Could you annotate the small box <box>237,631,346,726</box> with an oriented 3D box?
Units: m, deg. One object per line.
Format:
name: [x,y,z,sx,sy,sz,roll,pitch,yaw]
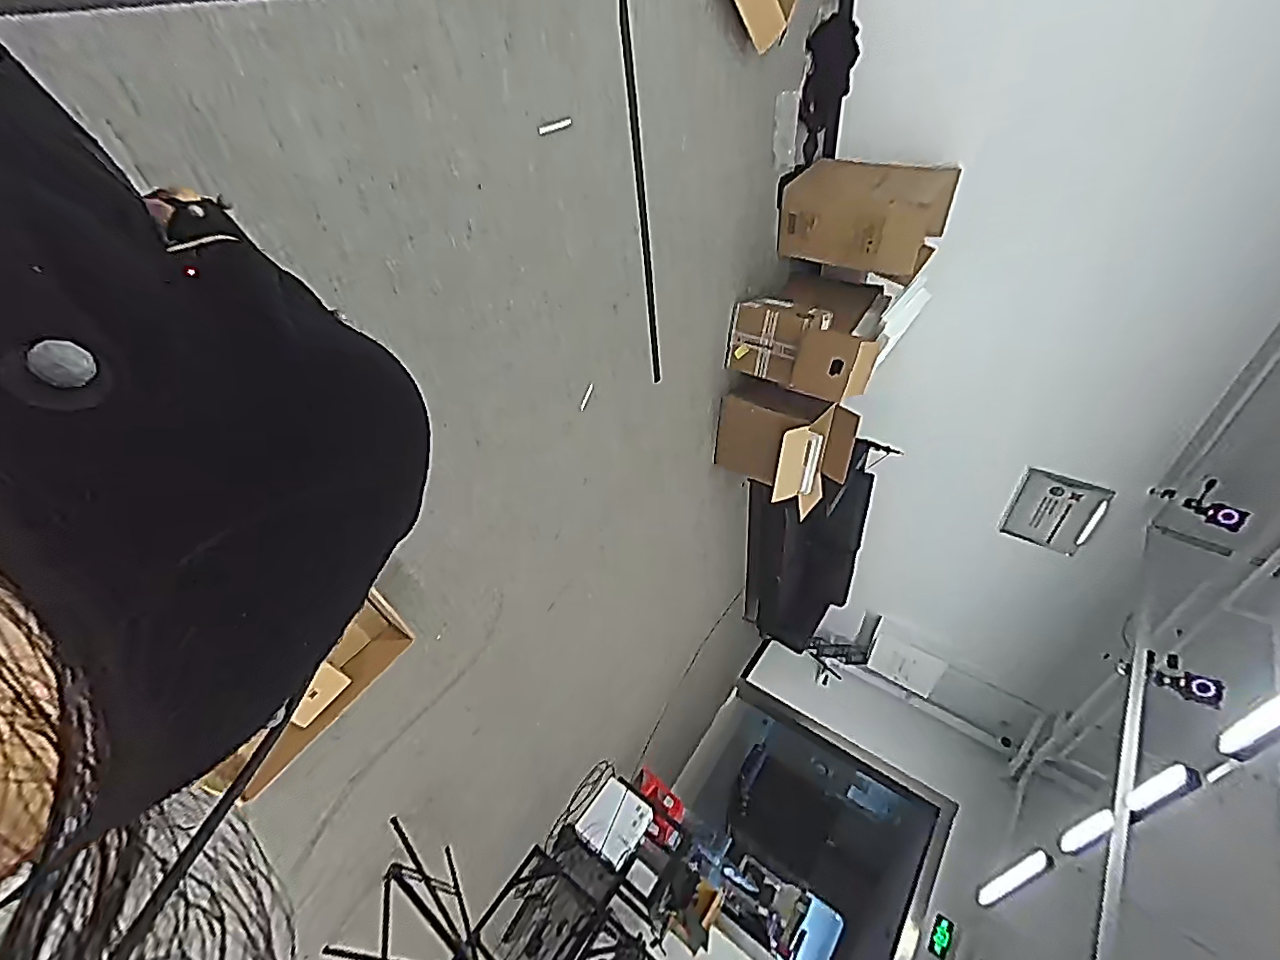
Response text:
small box: [-1.011,0.571,1.571,0.168,0.176,0.179,-49,147,-29]
